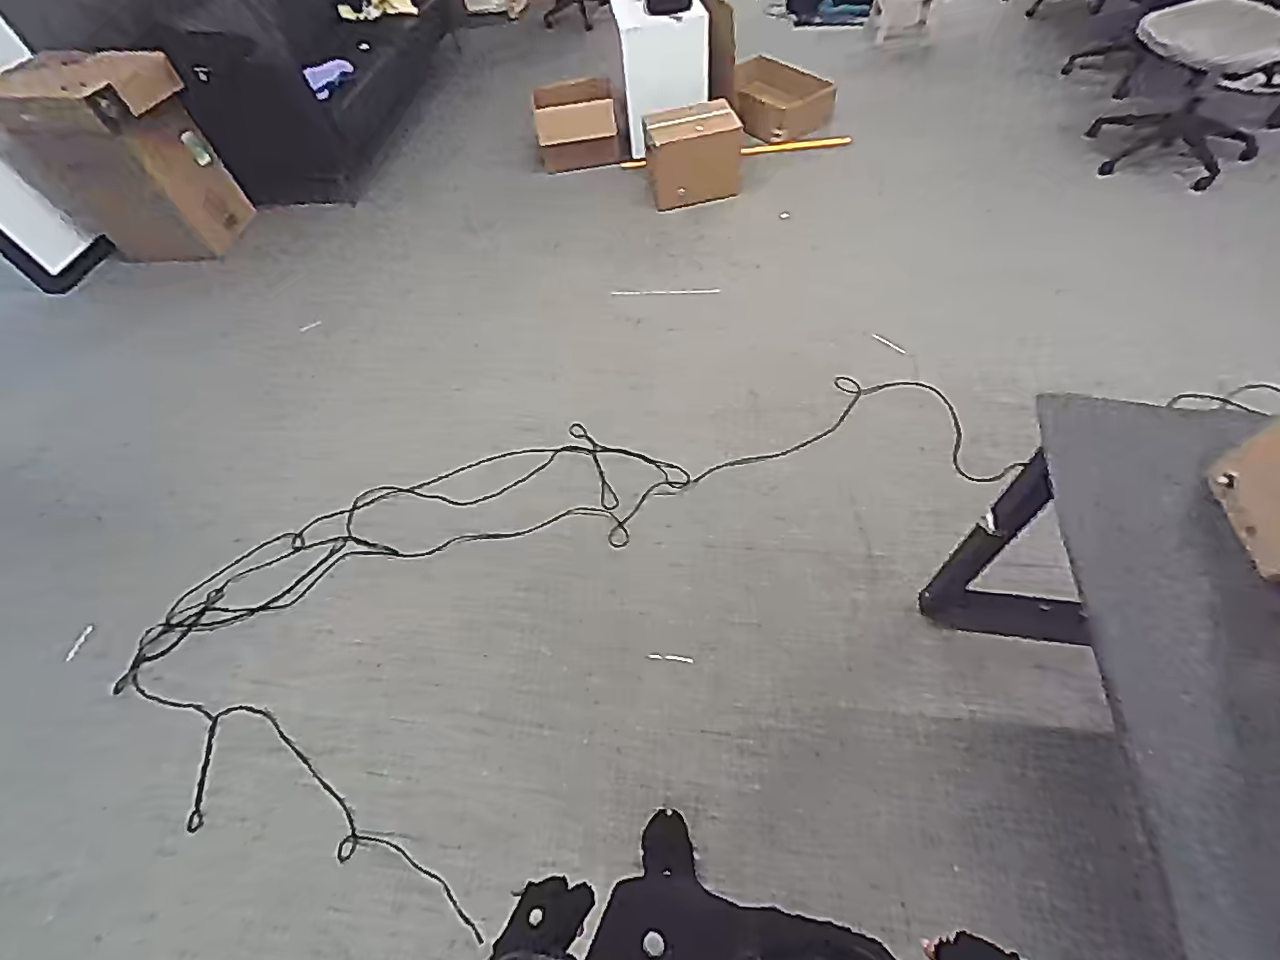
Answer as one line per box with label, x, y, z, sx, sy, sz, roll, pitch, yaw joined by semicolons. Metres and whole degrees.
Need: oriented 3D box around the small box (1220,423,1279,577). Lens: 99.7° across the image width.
small box;0.877;0.019;0.652;0.179;0.176;0.168;2;56;7
